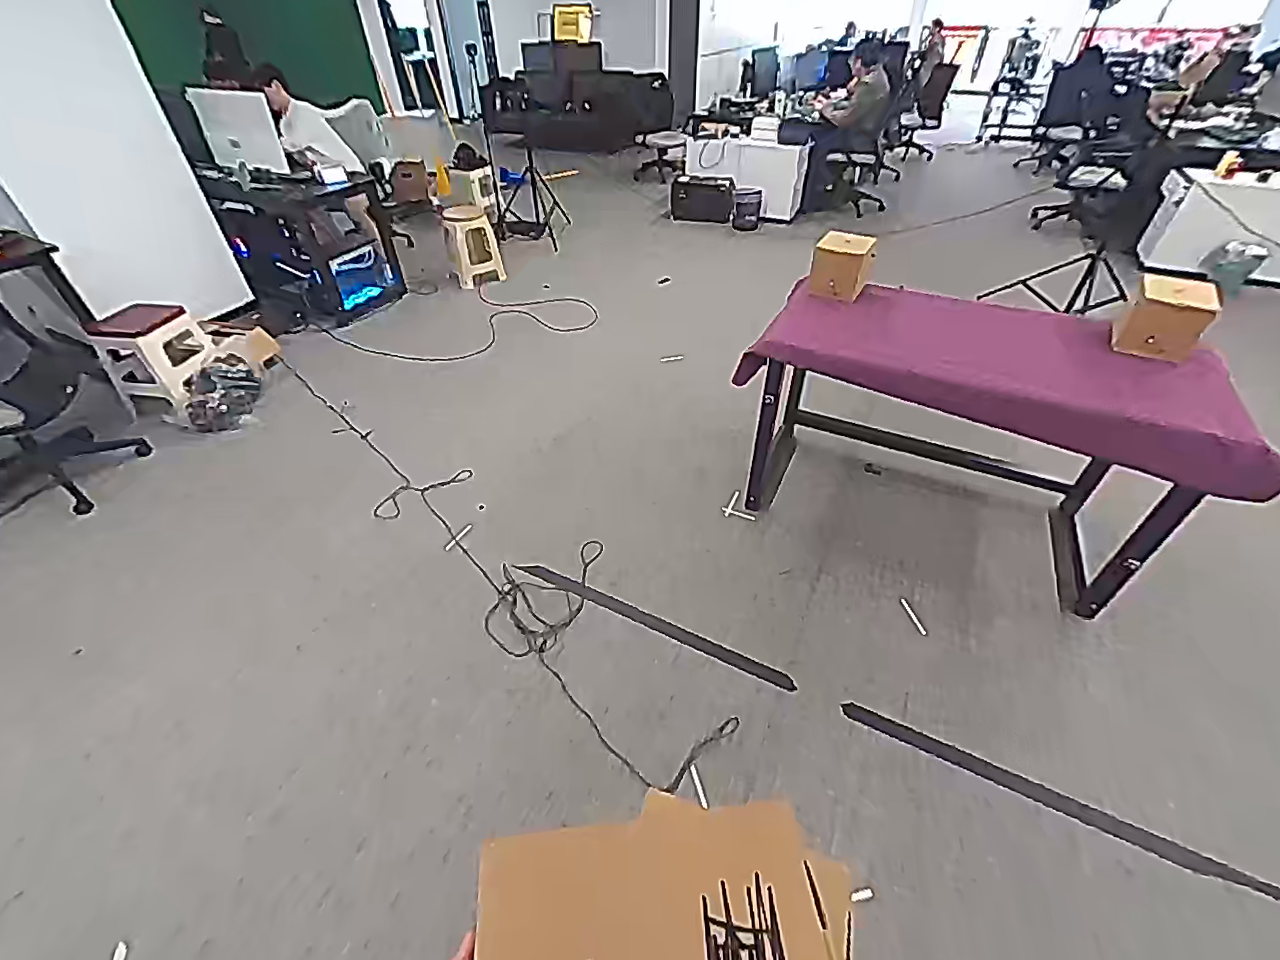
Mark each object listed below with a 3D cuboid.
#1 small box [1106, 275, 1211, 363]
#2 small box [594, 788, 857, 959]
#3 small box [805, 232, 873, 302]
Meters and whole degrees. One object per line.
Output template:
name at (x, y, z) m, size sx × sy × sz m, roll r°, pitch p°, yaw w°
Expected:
small box at (1.509, -0.473, 1.585) m, size 0.168 × 0.176 × 0.179 m, roll 22°, pitch 50°, yaw 23°
small box at (0.060, 0.398, 0.455) m, size 0.179 × 0.176 × 0.168 m, roll 18°, pitch 46°, yaw 9°
small box at (0.699, -0.752, 1.910) m, size 0.168 × 0.176 × 0.179 m, roll 21°, pitch 48°, yaw 23°
